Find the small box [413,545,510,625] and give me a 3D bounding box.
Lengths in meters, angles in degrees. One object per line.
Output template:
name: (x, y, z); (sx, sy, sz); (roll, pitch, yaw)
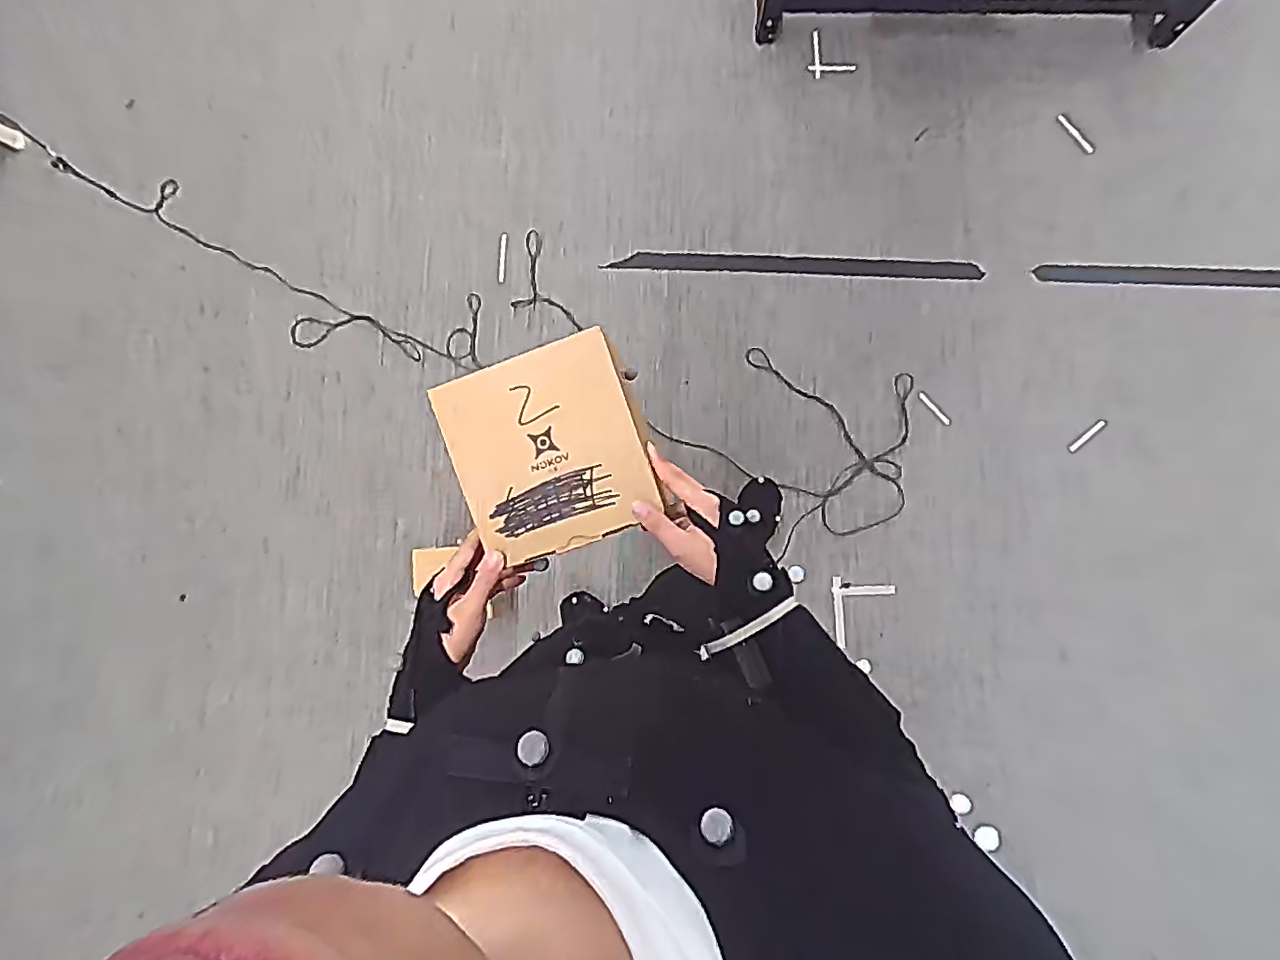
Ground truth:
small box: (-0.415, 0.244, 1.275); (0.179, 0.176, 0.168); (-5, 83, -1)
